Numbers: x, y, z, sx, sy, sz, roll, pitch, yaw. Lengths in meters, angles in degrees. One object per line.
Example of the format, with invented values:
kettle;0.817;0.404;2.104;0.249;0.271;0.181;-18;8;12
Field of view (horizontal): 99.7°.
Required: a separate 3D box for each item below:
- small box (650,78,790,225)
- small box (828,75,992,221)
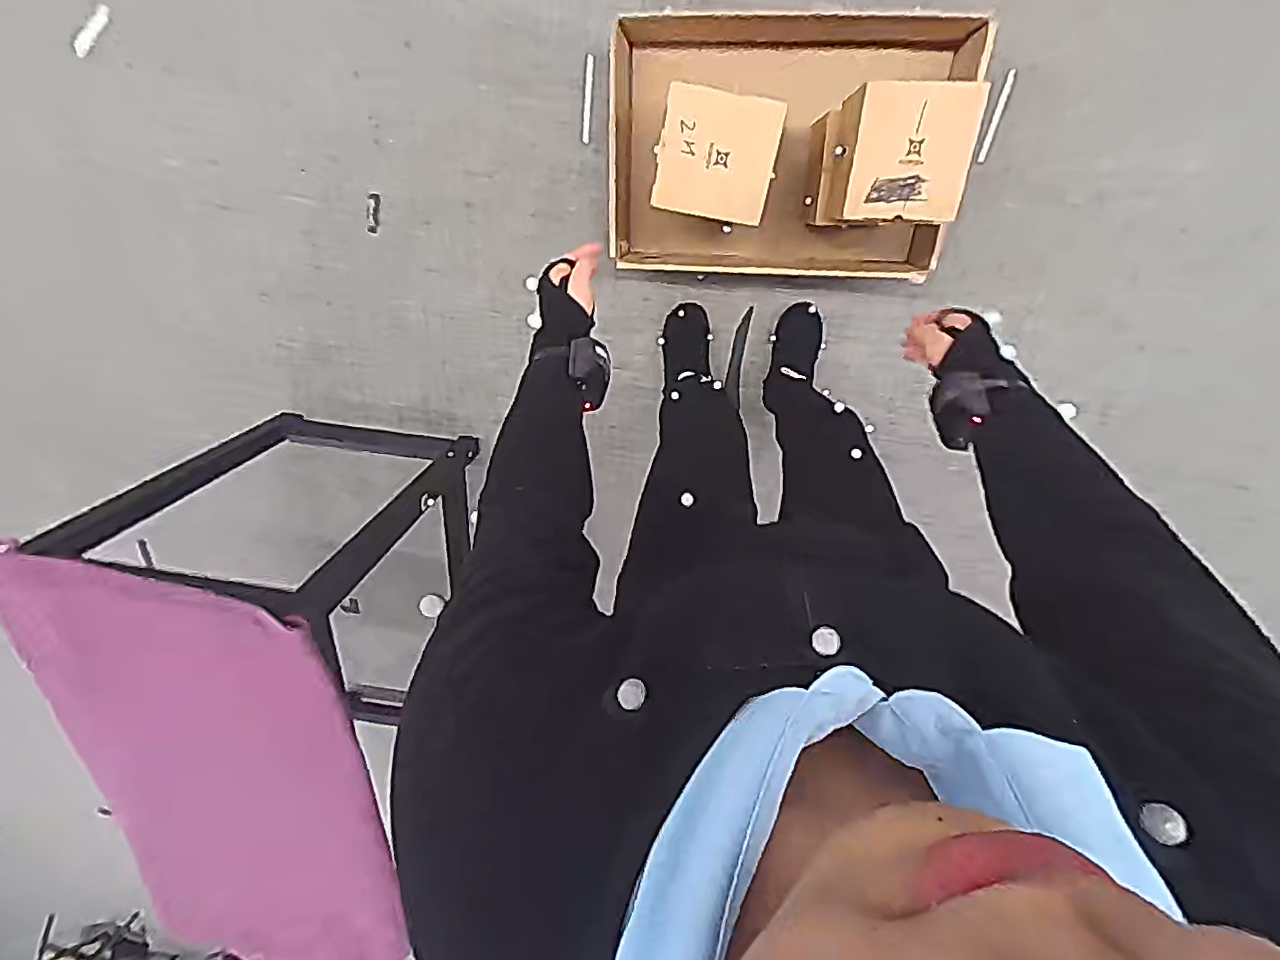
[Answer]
small box;0.121;-0.519;0.870;0.179;0.176;0.168;11;118;0
small box;0.399;-0.504;0.839;0.168;0.176;0.179;5;117;5
